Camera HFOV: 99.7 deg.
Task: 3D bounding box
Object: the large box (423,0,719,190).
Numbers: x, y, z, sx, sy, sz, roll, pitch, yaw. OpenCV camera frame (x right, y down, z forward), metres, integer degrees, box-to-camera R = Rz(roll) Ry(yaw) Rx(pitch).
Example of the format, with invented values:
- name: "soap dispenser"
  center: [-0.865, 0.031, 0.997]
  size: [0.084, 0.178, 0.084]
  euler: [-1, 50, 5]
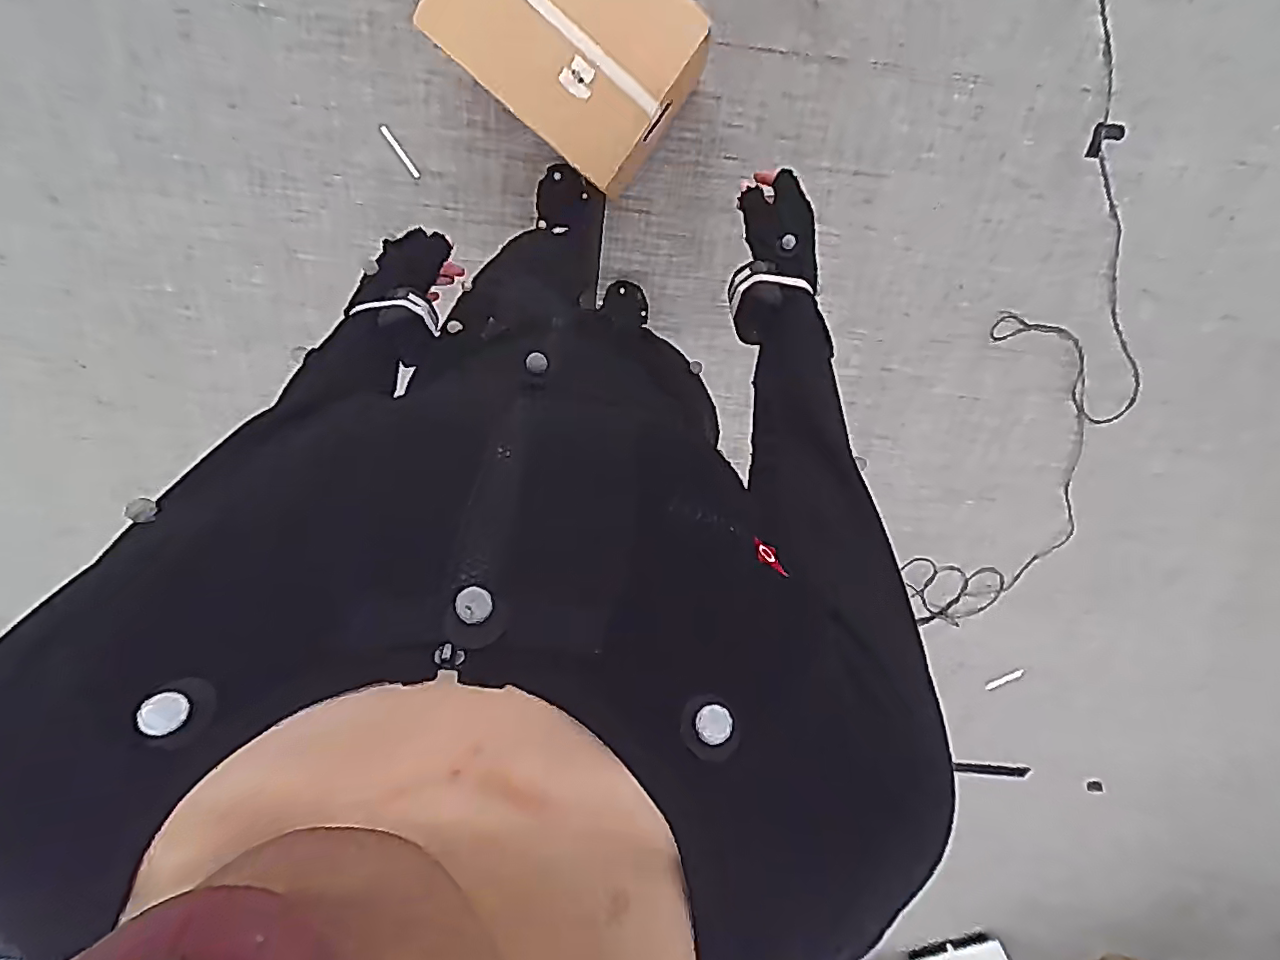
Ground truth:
- name: "large box"
  center: [-0.119, -0.834, 1.036]
  size: [0.408, 0.320, 0.320]
  euler: [34, 110, -14]
